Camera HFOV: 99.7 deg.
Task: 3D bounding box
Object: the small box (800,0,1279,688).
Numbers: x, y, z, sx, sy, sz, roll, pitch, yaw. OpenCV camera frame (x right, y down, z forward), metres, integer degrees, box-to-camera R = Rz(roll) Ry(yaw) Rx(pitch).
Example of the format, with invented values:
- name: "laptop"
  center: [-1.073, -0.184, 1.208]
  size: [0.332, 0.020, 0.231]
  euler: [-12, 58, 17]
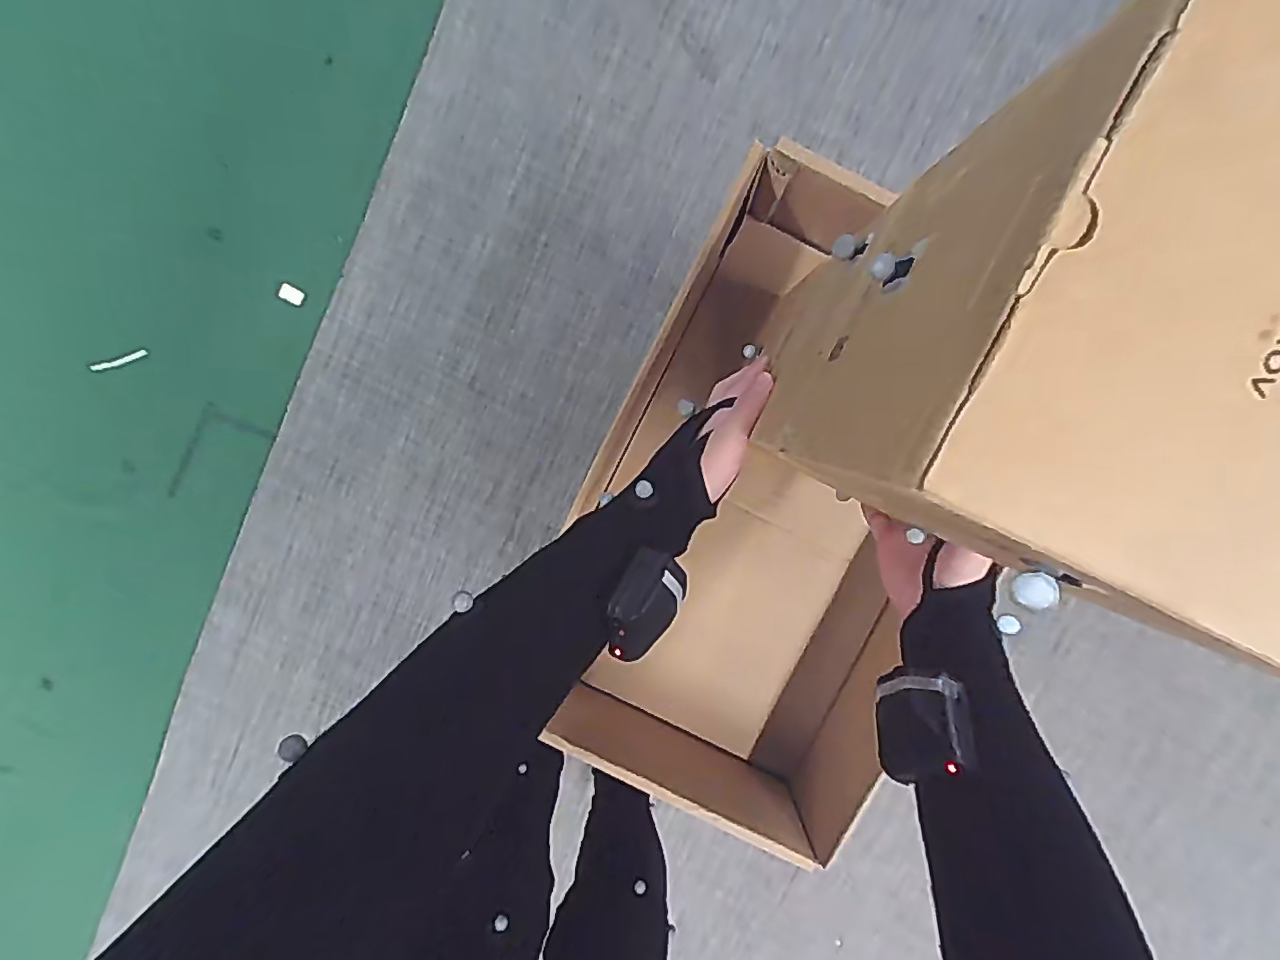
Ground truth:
- name: "small box"
  center: [0.197, -0.039, 0.226]
  size: [0.179, 0.176, 0.168]
  euler: [26, 97, -2]
